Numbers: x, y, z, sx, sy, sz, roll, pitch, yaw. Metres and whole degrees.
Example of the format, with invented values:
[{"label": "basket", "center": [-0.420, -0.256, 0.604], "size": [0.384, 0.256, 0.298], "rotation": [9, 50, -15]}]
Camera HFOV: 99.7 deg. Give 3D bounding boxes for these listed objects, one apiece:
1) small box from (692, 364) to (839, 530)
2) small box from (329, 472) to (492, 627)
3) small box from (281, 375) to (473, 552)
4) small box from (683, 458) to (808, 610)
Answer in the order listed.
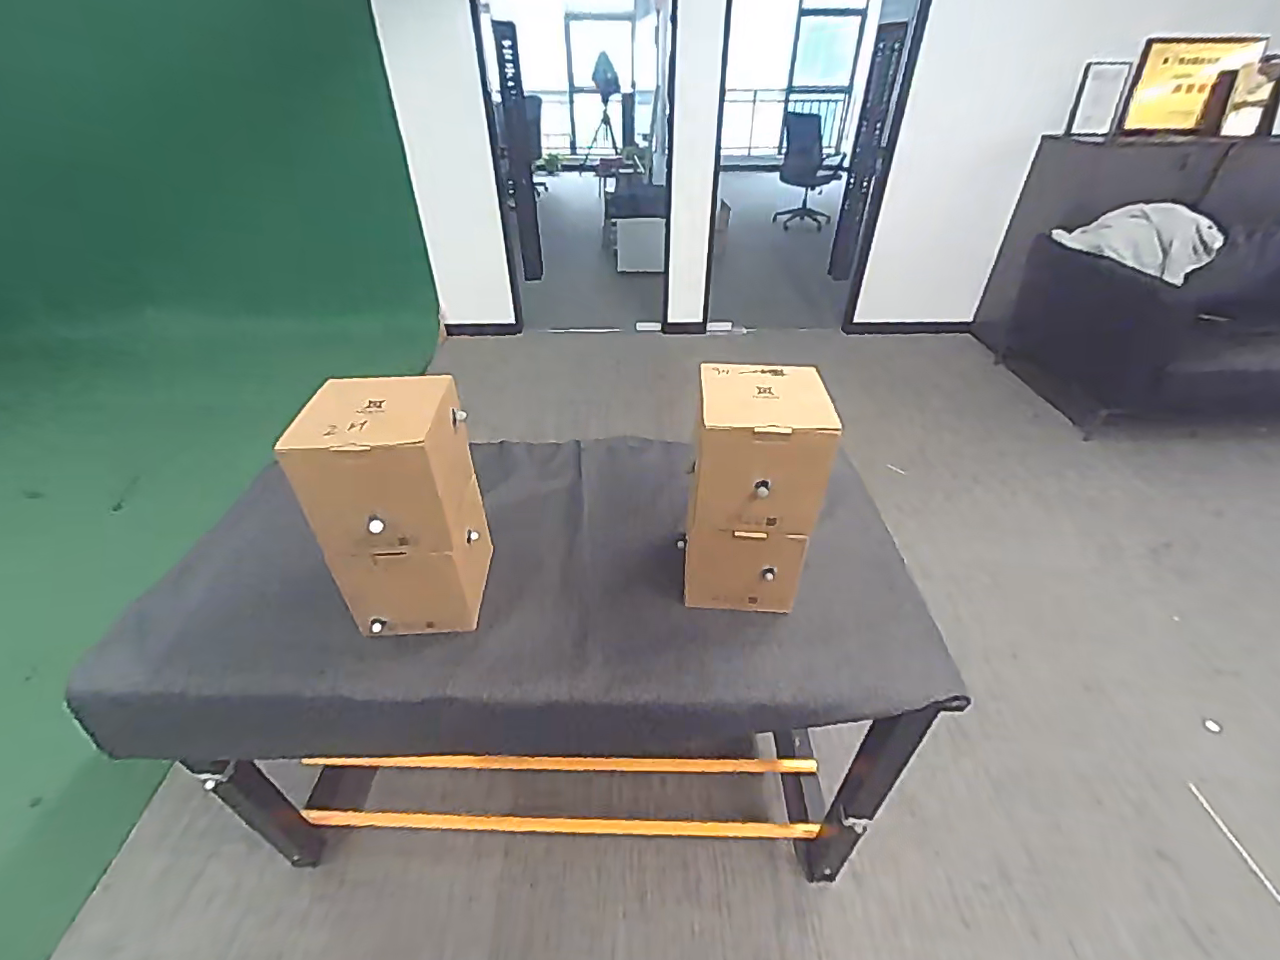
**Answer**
[{"label": "small box", "center": [0.162, -0.047, 0.755], "size": [0.168, 0.176, 0.179], "rotation": [3, 38, 3]}, {"label": "small box", "center": [-0.328, 0.107, 0.818], "size": [0.168, 0.176, 0.179], "rotation": [-2, 36, -3]}, {"label": "small box", "center": [-0.327, -0.025, 0.720], "size": [0.168, 0.176, 0.179], "rotation": [-3, 37, -4]}, {"label": "small box", "center": [0.157, 0.084, 0.854], "size": [0.168, 0.176, 0.179], "rotation": [4, 37, 3]}]
